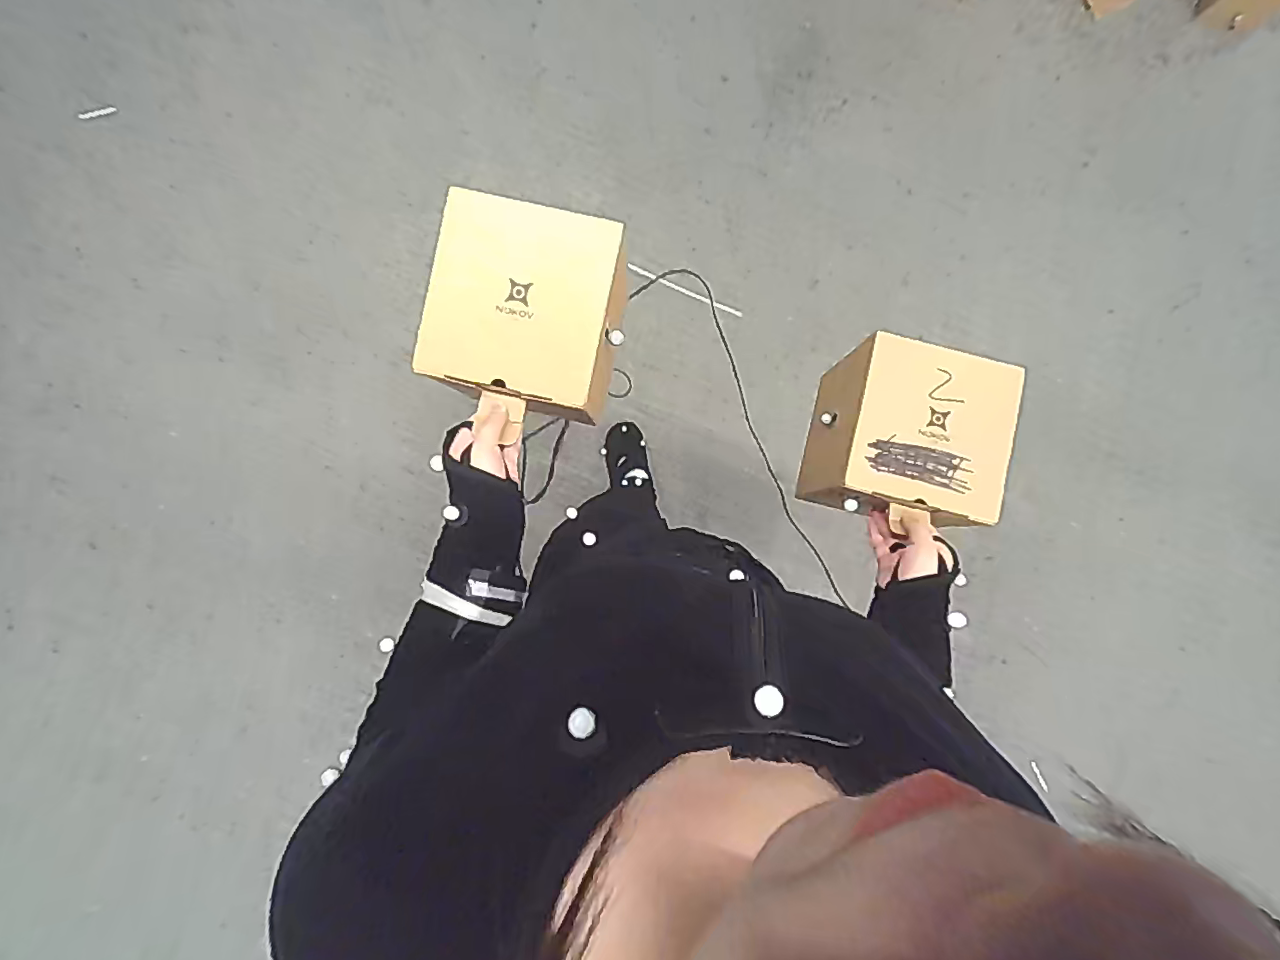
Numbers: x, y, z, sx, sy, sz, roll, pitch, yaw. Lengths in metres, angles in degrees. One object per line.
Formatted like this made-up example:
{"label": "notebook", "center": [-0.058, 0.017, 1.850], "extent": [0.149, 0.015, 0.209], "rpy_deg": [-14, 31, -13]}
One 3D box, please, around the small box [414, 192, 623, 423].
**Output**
{"label": "small box", "center": [-0.115, -0.169, 0.586], "extent": [0.168, 0.176, 0.179], "rpy_deg": [13, 91, 1]}
